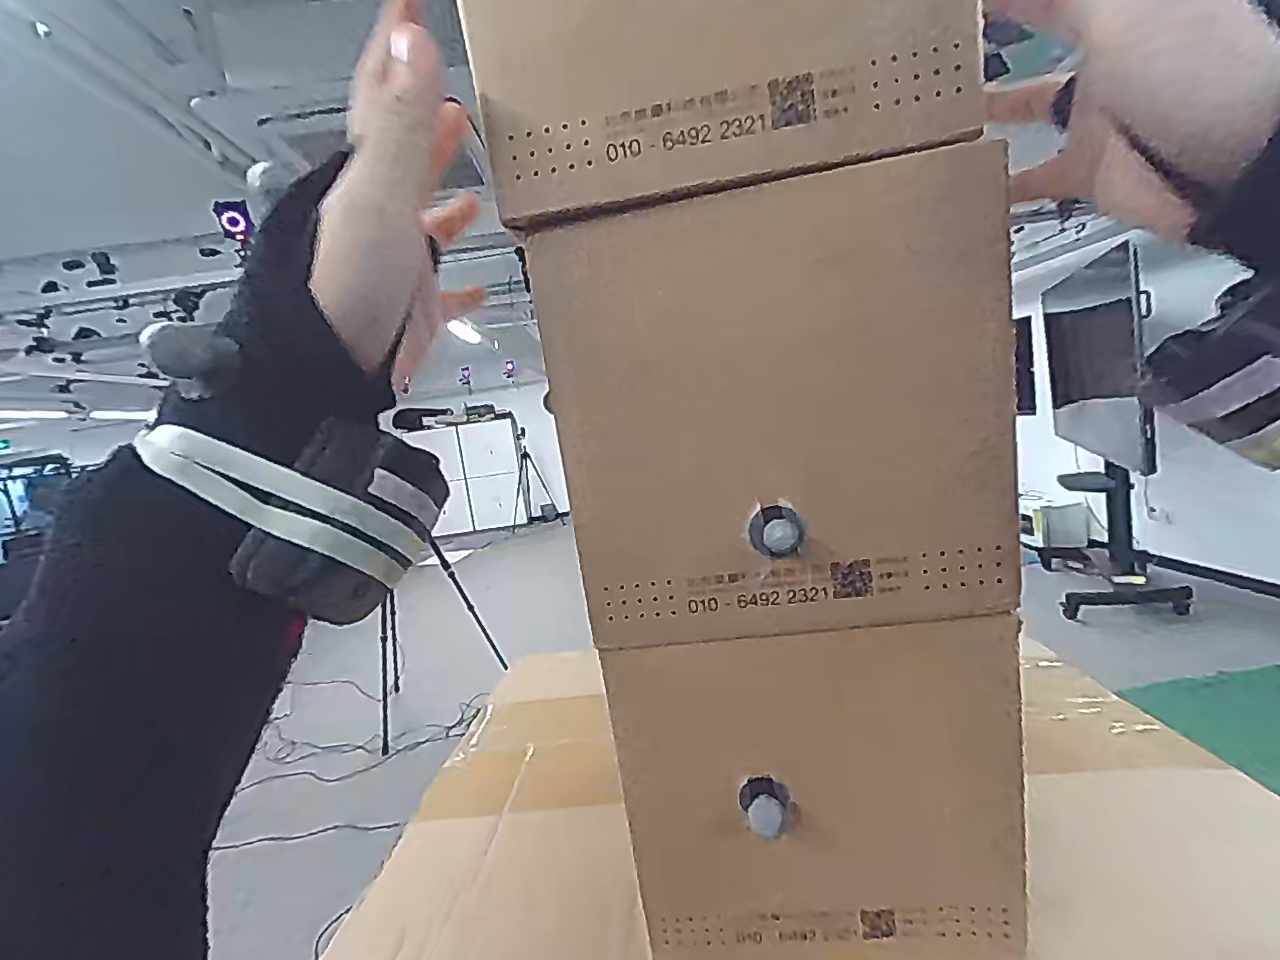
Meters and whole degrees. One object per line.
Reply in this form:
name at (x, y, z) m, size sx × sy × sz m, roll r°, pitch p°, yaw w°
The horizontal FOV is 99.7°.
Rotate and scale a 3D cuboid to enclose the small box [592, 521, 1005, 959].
small box at (0.080, 0.134, 0.311) m, size 0.168 × 0.176 × 0.179 m, roll -7°, pitch 9°, yaw 7°
